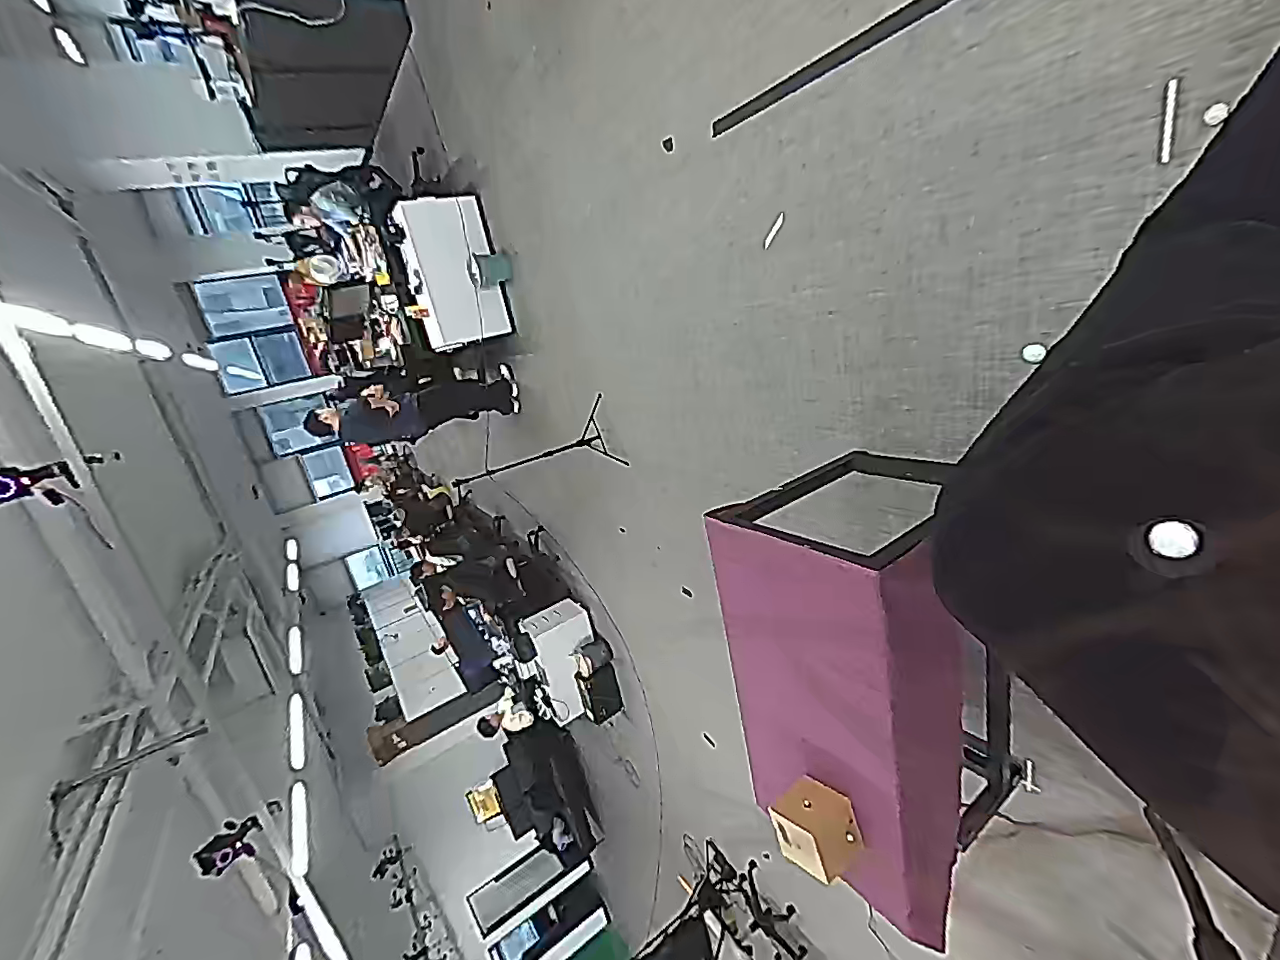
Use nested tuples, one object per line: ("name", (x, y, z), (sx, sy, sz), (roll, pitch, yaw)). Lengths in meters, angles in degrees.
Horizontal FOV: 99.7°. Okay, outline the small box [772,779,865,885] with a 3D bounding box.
("small box", (0.527, 1.025, 1.596), (0.179, 0.176, 0.168), (-8, 103, 60))
